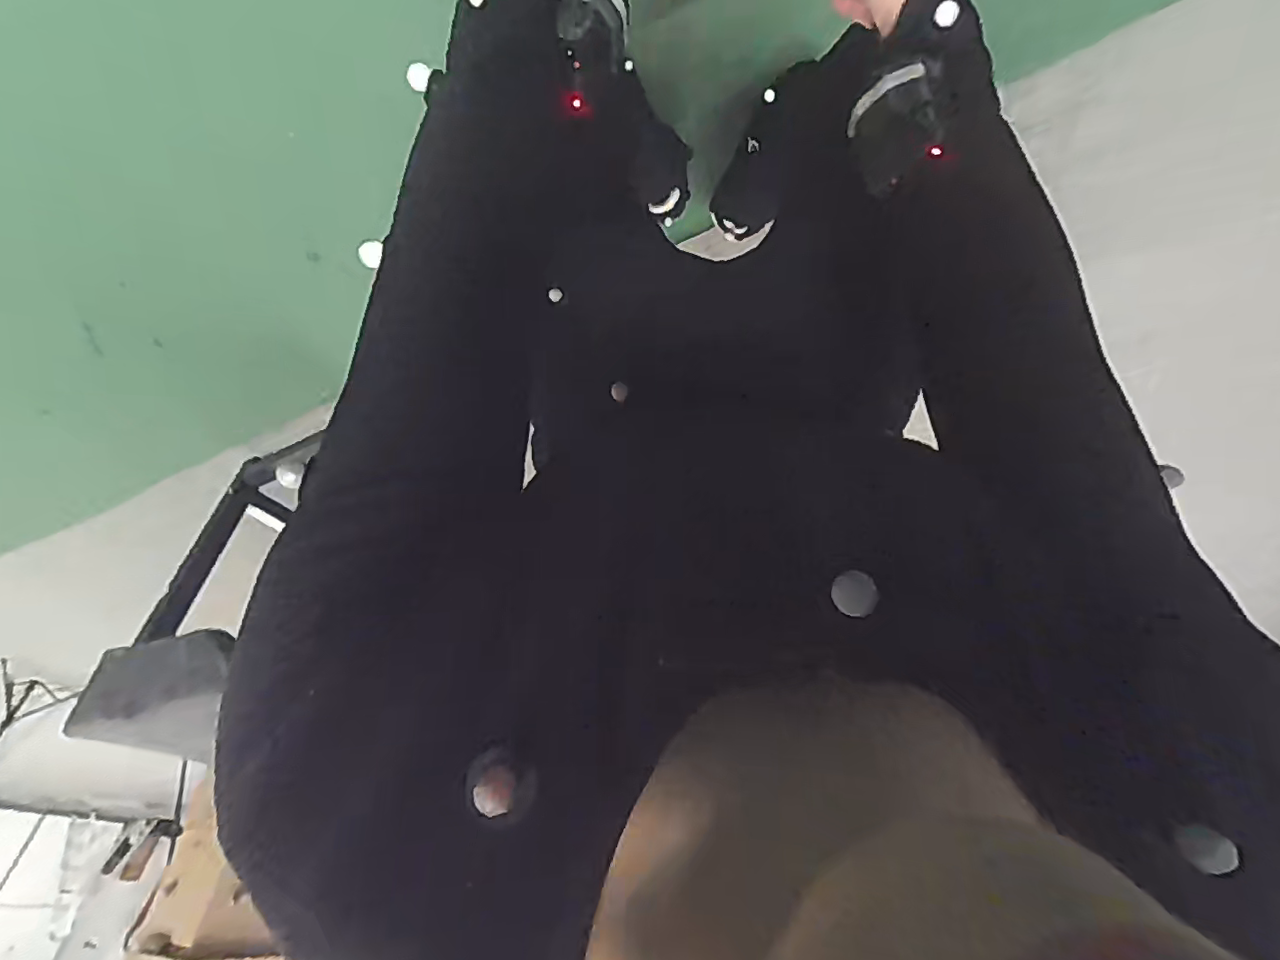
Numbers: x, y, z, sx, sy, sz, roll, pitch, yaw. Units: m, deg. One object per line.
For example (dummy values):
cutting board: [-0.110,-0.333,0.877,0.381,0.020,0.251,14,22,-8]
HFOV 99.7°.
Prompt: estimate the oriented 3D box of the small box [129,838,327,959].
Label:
small box: [-0.681,0.707,0.913,0.168,0.176,0.179,-16,140,24]
